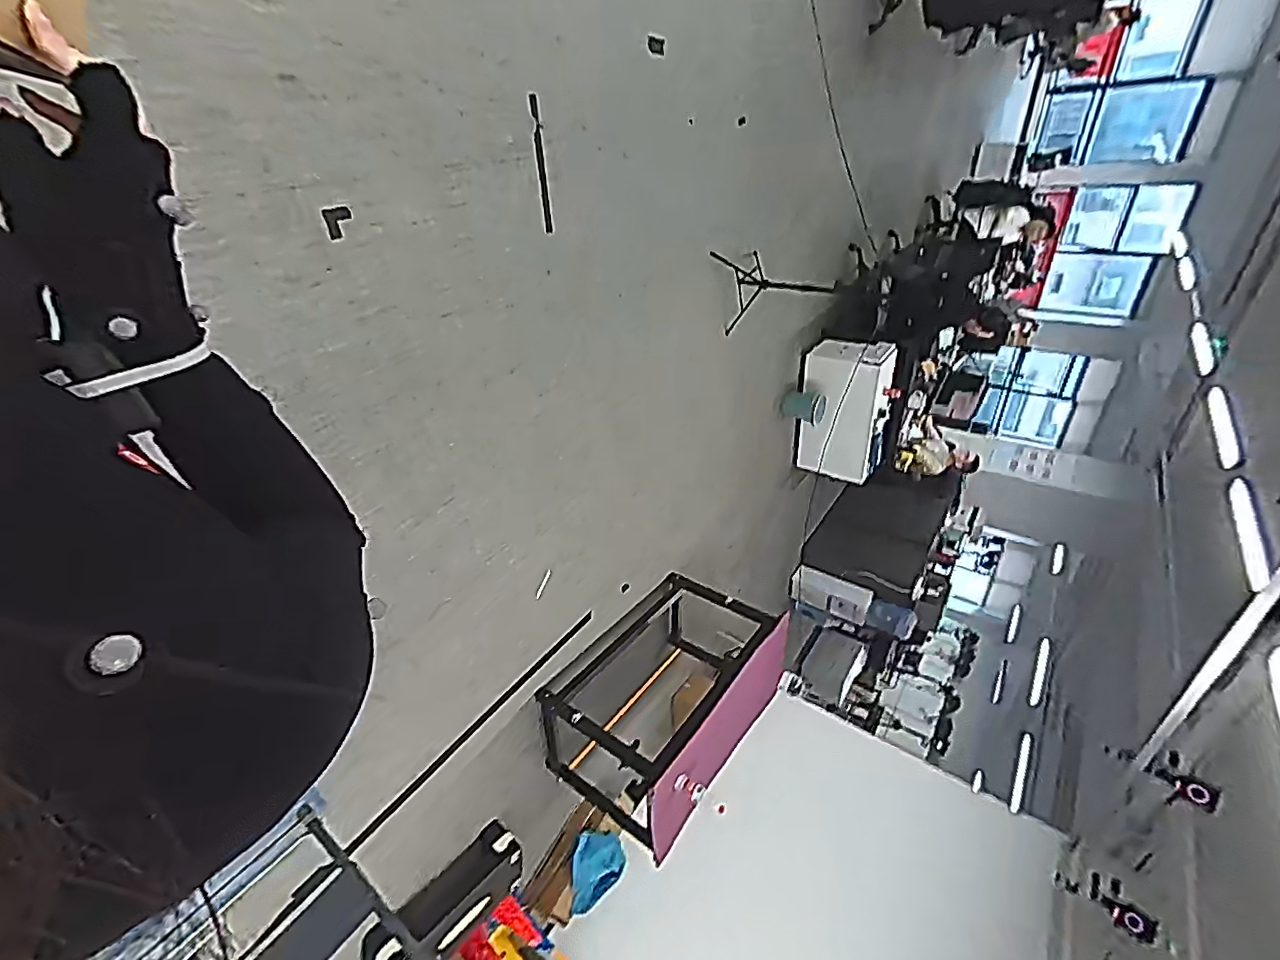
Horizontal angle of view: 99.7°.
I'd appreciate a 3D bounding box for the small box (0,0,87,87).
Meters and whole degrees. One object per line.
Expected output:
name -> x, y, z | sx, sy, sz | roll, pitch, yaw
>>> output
small box -> -0.381, -0.309, 0.214 | 0.179, 0.168, 0.176 | -89, -170, -80
